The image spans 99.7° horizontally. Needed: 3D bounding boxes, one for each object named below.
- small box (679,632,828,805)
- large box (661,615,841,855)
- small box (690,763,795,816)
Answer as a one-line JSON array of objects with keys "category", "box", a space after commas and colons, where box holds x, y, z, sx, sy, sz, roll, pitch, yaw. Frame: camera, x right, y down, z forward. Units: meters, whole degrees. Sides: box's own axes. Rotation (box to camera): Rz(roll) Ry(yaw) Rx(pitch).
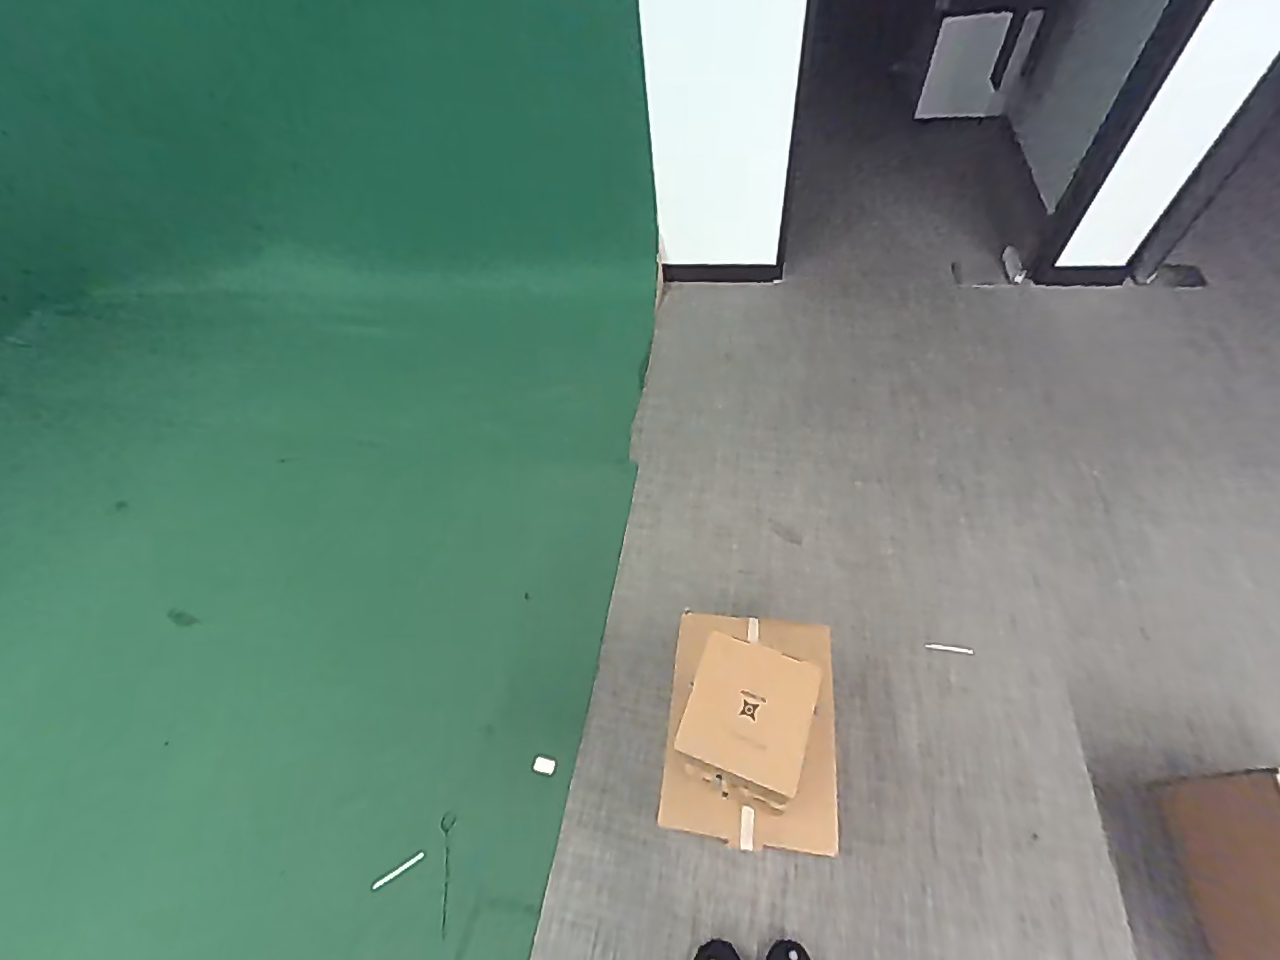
[{"category": "small box", "box": [0.167, 0.358, 0.807, 0.168, 0.176, 0.179, 15, 61, 19]}, {"category": "large box", "box": [0.232, 0.547, 1.163, 0.320, 0.320, 0.408, 3, 56, 10]}, {"category": "small box", "box": [0.190, 0.455, 0.935, 0.168, 0.176, 0.179, 13, 60, 16]}]
